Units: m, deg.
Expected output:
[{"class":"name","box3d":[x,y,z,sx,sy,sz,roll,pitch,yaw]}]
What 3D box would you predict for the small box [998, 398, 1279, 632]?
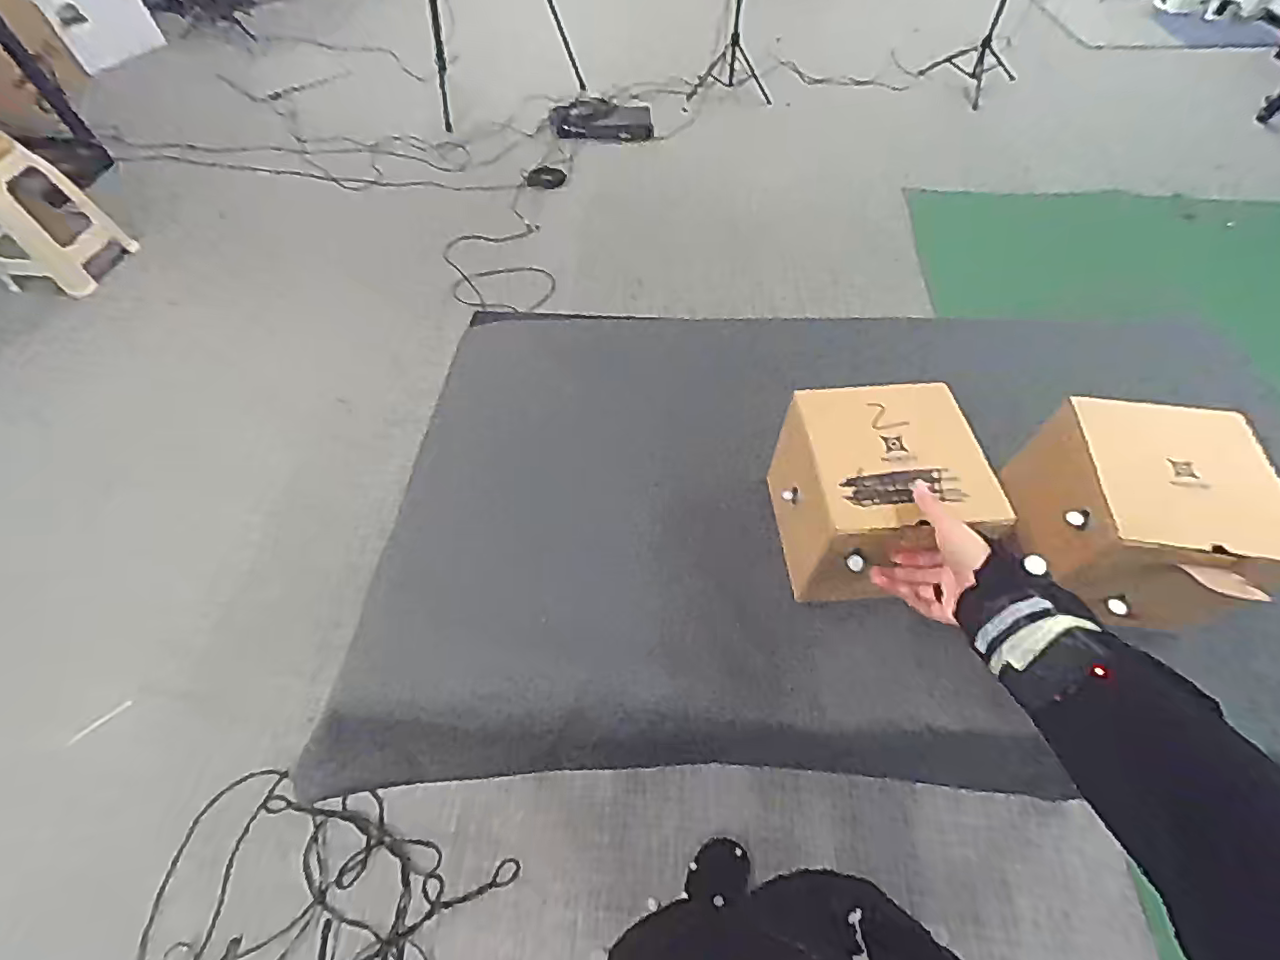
[{"class":"small box","box3d":[0.518,0.040,0.577,0.168,0.176,0.179,8,57,6]}]
